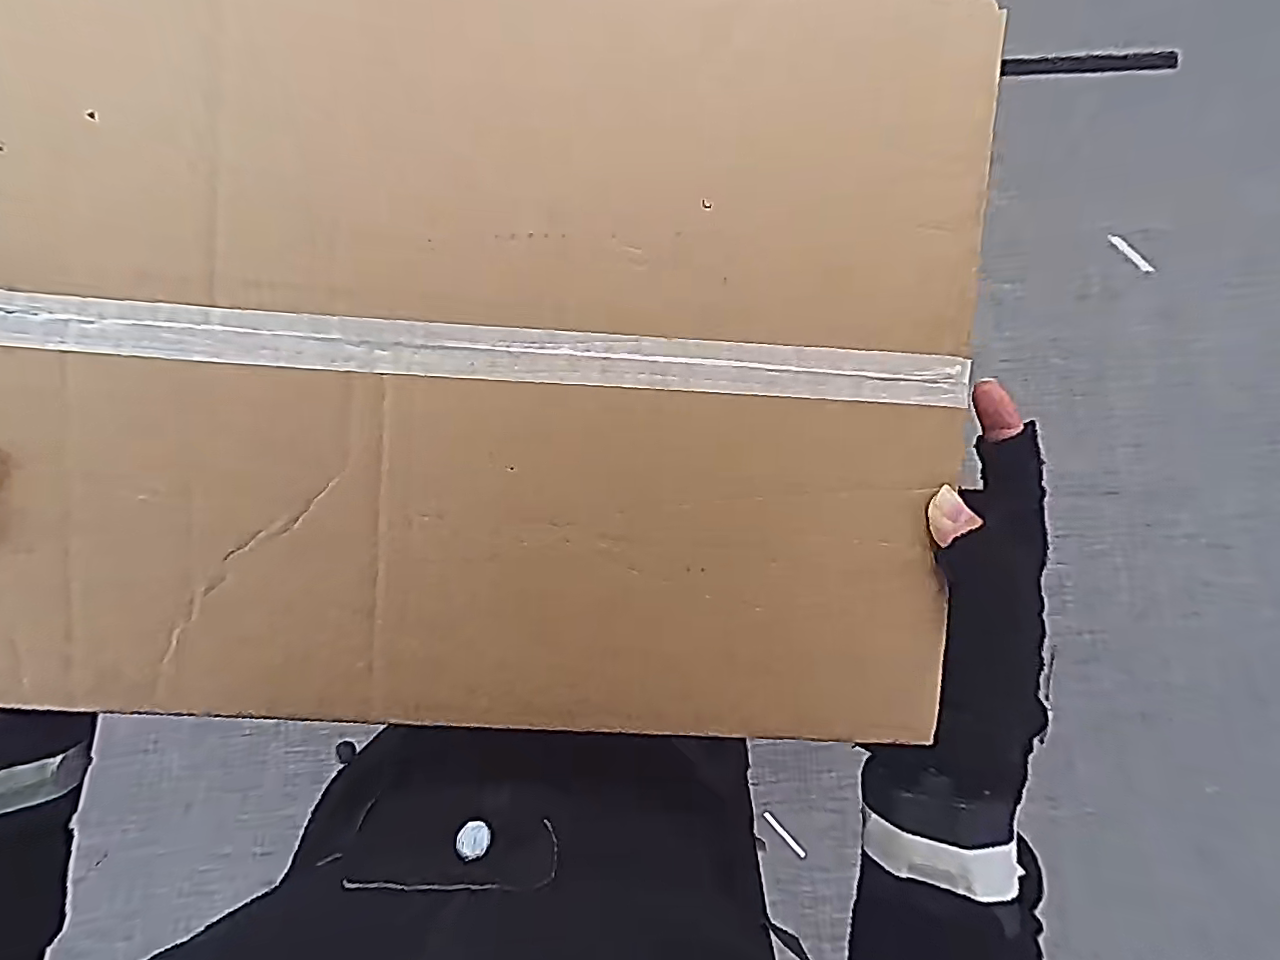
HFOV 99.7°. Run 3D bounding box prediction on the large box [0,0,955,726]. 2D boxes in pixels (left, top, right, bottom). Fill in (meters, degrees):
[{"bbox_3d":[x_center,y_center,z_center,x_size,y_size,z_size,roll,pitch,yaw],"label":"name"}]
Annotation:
[{"bbox_3d":[-0.075,-0.057,0.379,0.408,0.320,0.320,3,93,-3],"label":"large box"}]
